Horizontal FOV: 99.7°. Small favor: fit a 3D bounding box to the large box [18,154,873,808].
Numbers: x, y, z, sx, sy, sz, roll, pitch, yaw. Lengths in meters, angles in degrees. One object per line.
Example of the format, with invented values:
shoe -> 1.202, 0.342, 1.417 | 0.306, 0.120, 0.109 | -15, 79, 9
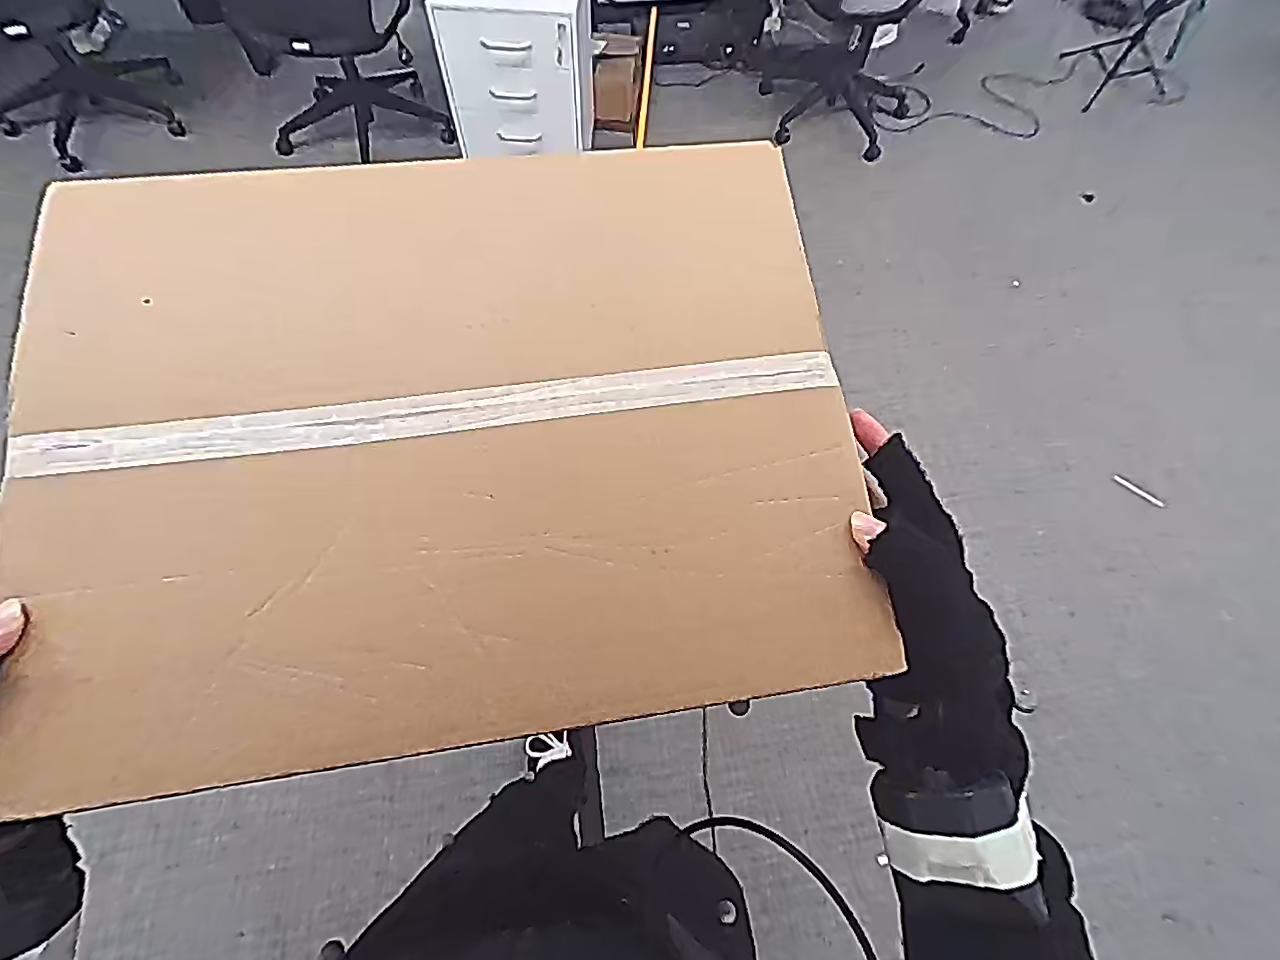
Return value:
large box -> -0.105, 0.003, 0.430 | 0.408, 0.320, 0.320 | -7, 76, -5
